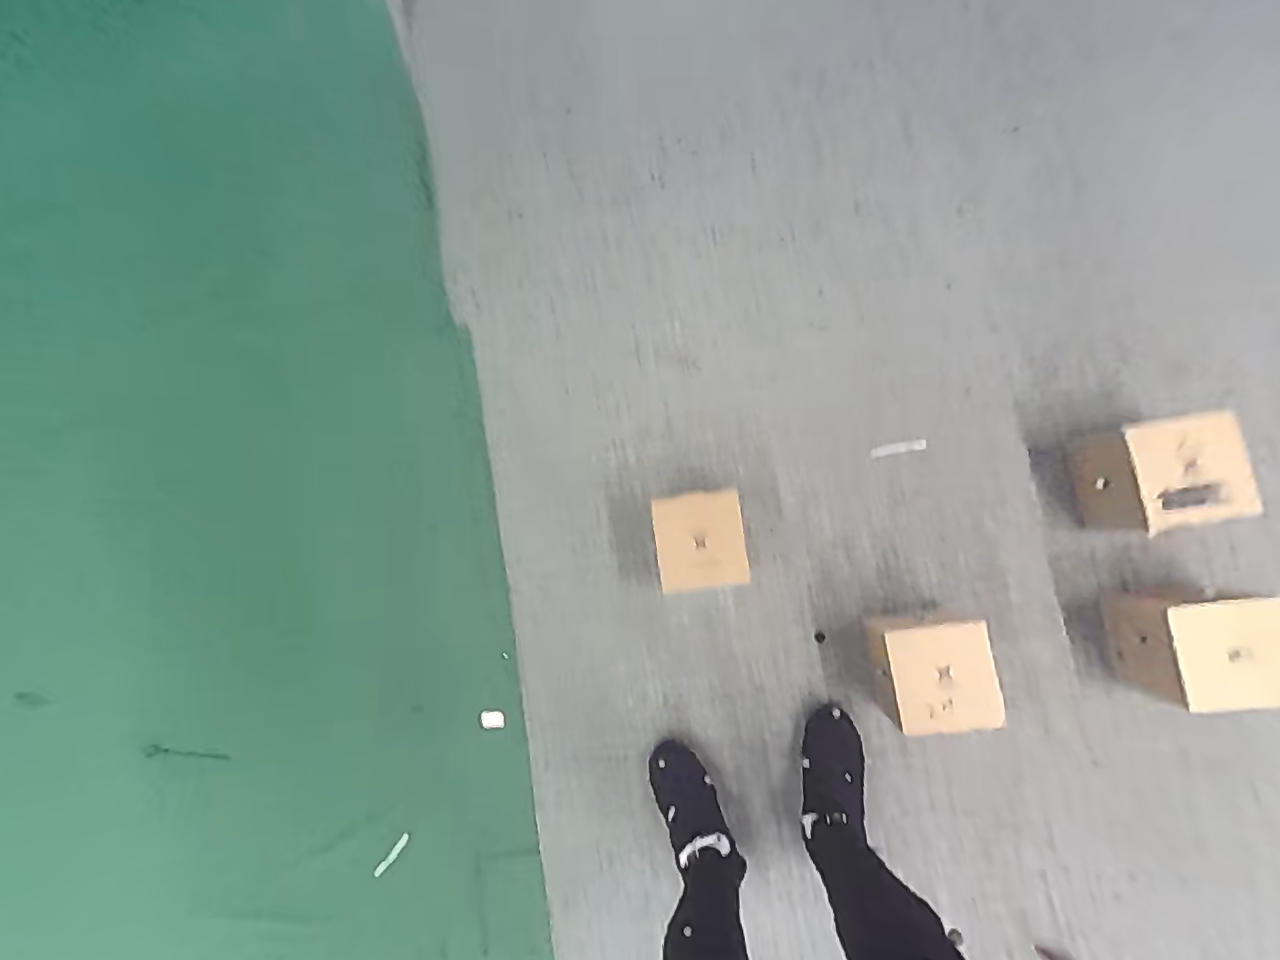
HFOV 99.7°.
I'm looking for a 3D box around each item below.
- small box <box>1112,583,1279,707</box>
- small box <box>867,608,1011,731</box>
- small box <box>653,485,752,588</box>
[{"bbox_3d":[0.951,0.270,0.914,0.179,0.176,0.168,-9,83,8],"label":"small box"},{"bbox_3d":[0.525,0.331,0.977,0.168,0.176,0.179,-9,83,9],"label":"small box"},{"bbox_3d":[0.125,0.112,1.069,0.168,0.176,0.179,-8,84,9],"label":"small box"}]
